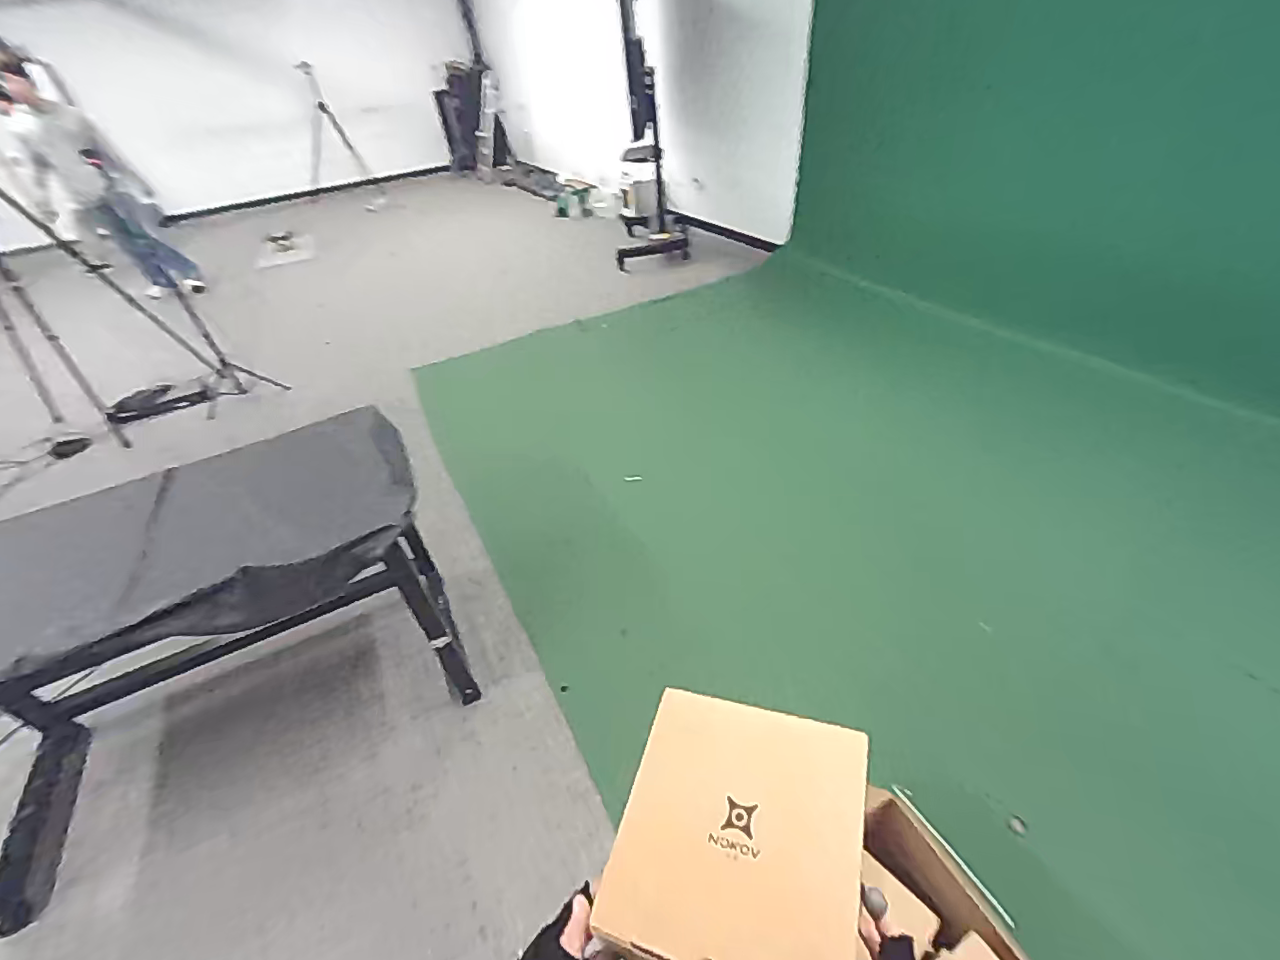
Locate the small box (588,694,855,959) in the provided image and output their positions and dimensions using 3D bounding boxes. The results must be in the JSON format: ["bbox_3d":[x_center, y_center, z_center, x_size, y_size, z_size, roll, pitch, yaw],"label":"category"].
[{"bbox_3d":[0.080,0.313,0.446,0.168,0.176,0.179,4,43,22],"label":"small box"}]
